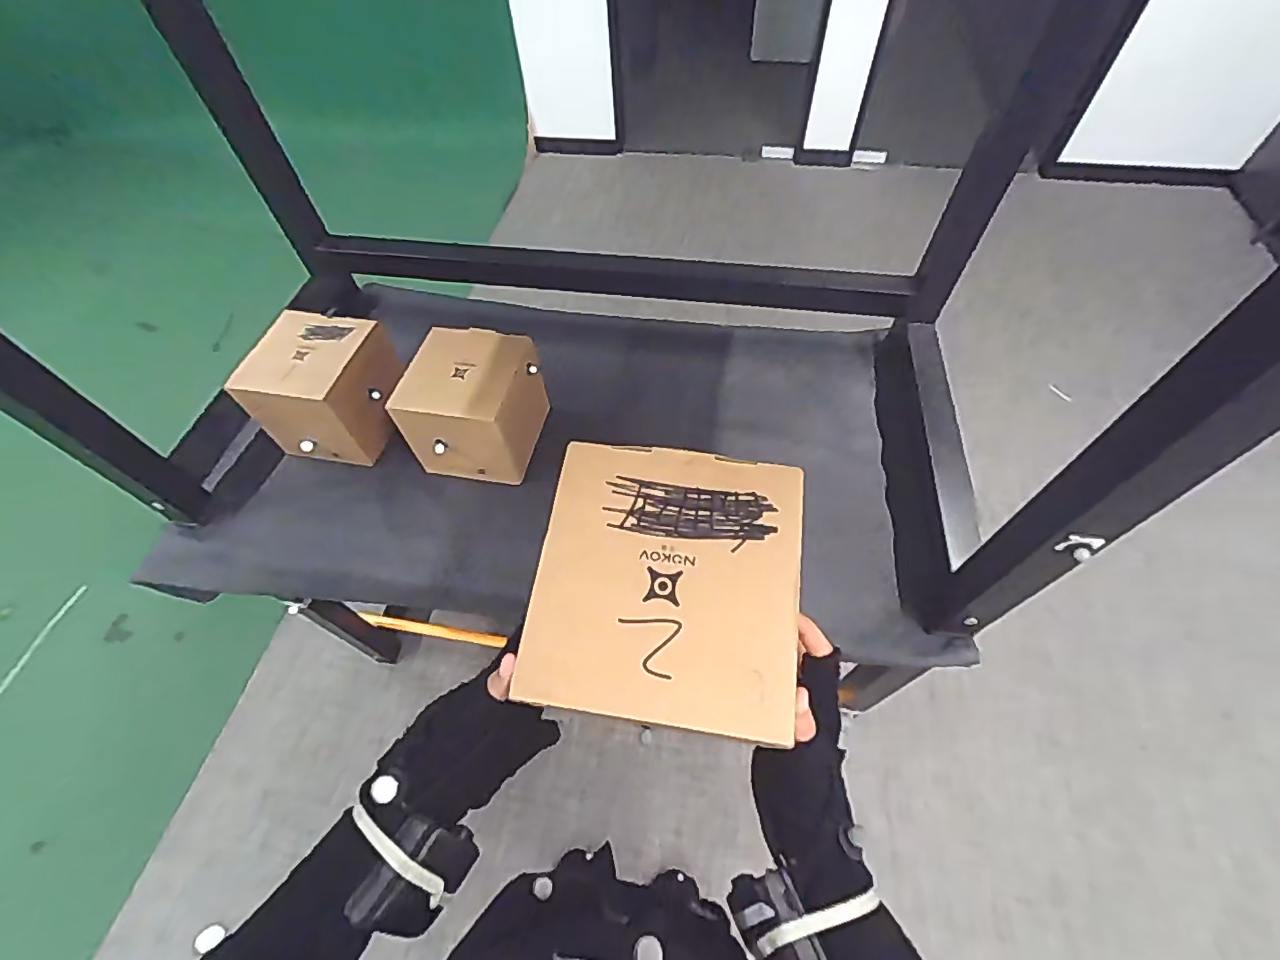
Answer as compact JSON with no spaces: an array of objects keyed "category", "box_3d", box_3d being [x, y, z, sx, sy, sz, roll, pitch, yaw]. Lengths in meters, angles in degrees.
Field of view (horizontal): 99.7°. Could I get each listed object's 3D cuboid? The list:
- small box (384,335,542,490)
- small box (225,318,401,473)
[{"category":"small box","box_3d":[-0.267,-0.104,0.868,0.168,0.176,0.179,8,56,7]},{"category":"small box","box_3d":[-0.515,-0.138,0.896,0.168,0.176,0.179,8,56,7]}]
